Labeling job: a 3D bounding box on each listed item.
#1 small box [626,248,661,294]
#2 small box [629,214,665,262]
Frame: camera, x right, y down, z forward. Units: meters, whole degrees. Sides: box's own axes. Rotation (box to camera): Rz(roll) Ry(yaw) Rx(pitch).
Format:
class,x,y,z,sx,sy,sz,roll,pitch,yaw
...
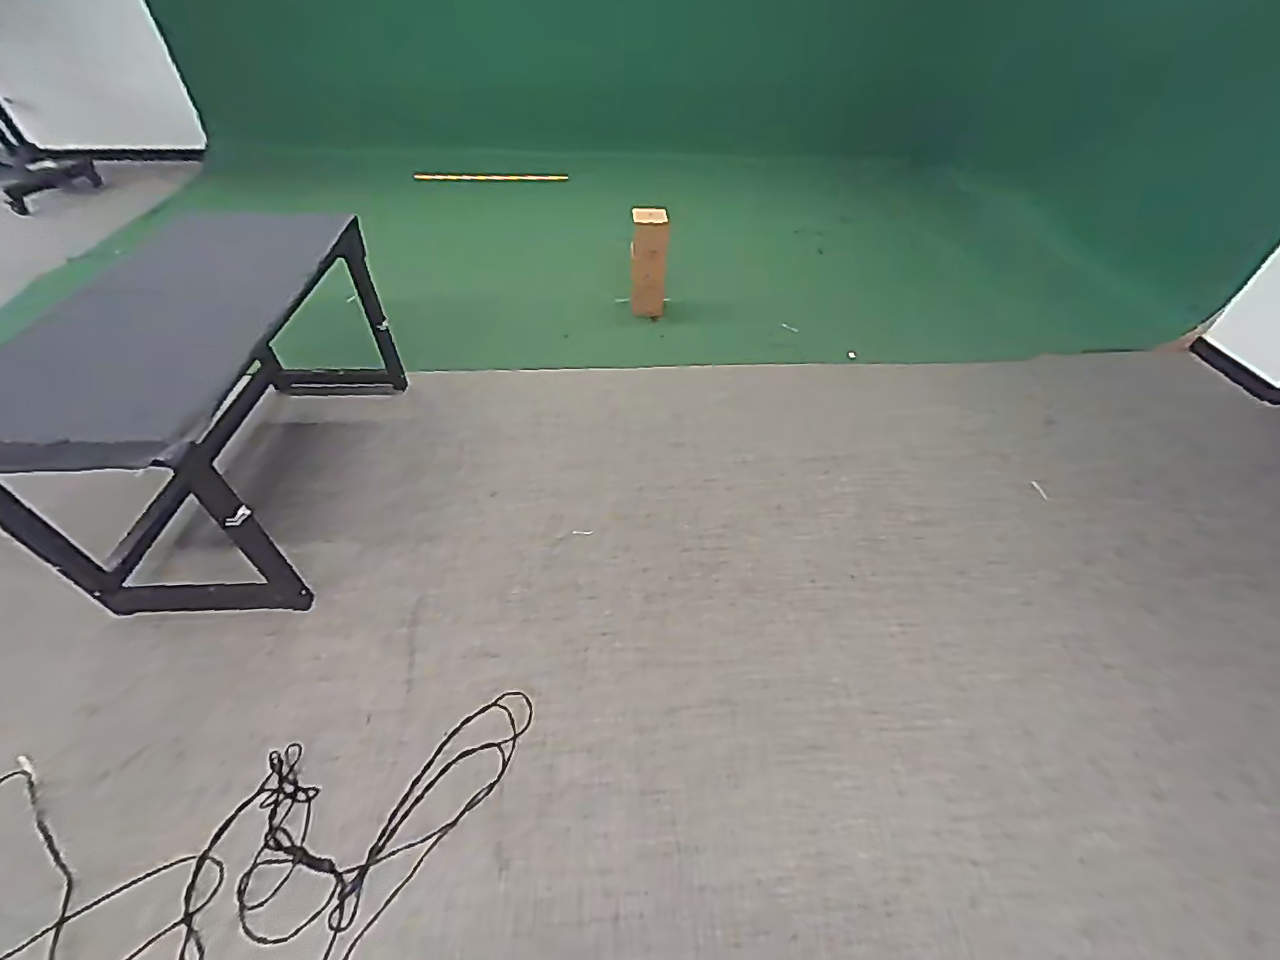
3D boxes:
class,x,y,z,sx,sy,sz,roll,pitch,yaw
small box,0.016,-1.095,2.827,0.168,0.176,0.179,-1,45,-5
small box,0.030,-1.215,2.713,0.168,0.176,0.179,0,45,-4
